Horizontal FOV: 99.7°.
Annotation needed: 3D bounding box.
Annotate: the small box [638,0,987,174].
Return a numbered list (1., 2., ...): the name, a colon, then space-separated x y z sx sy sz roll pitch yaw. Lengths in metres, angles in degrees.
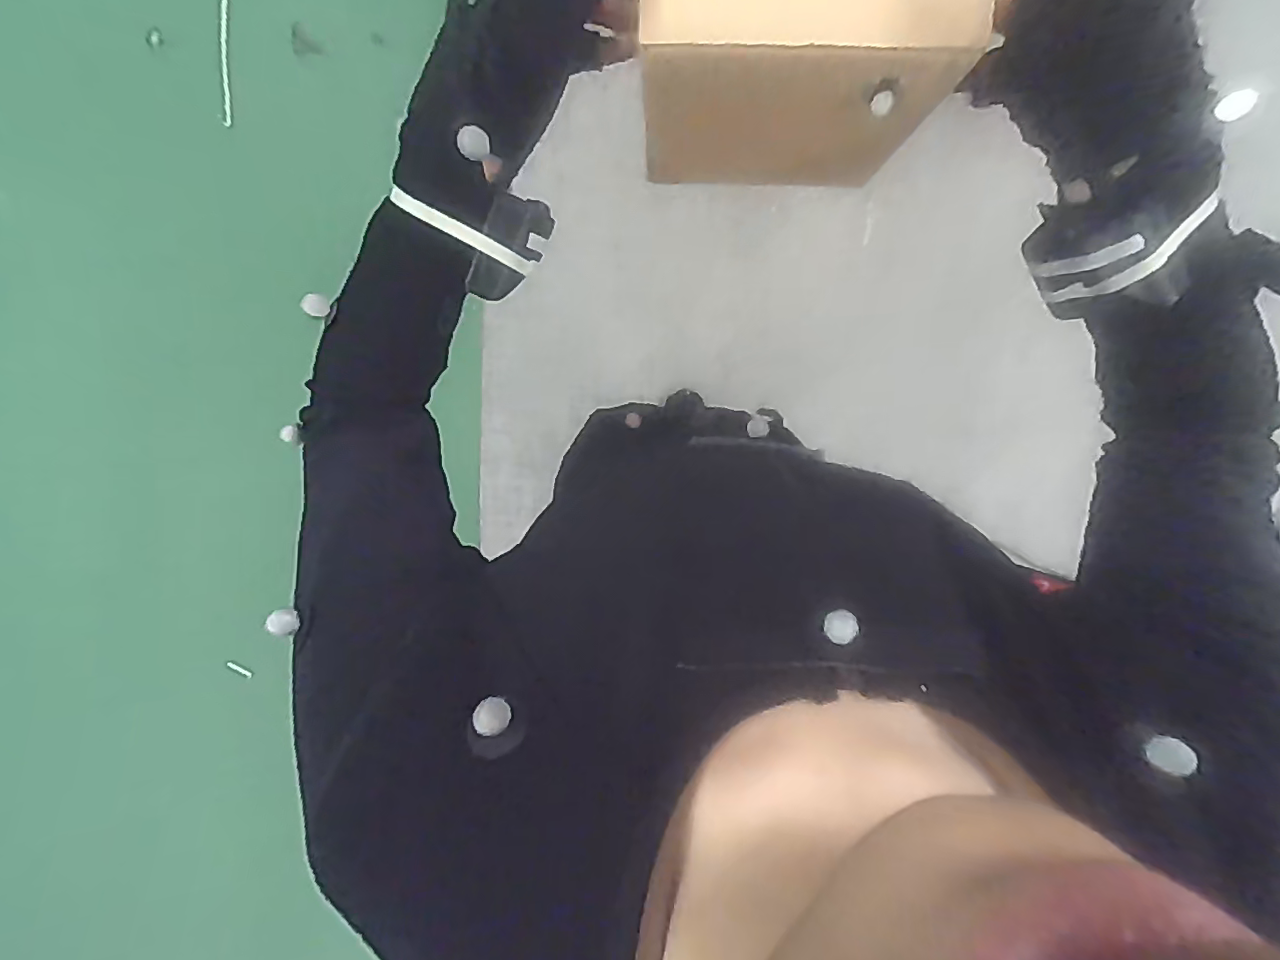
1. small box: 0.090 -0.316 0.344 0.179 0.176 0.168 1 98 1
